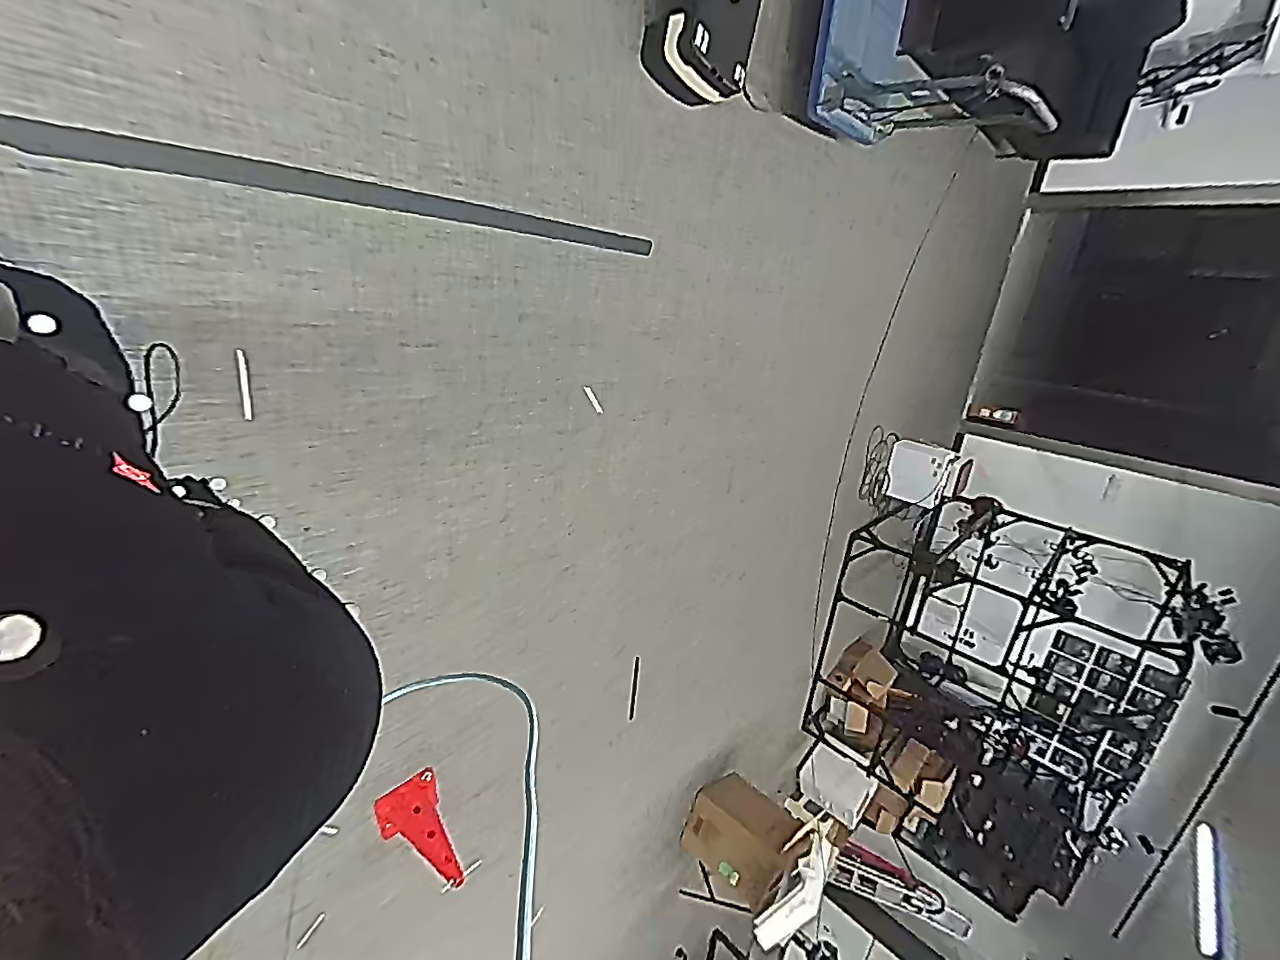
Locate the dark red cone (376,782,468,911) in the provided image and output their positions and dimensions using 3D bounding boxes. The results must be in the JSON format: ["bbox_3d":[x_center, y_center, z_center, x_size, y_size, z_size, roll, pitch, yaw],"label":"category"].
[{"bbox_3d":[-0.654,1.177,1.700,0.201,0.394,0.202,-22,123,-40],"label":"dark red cone"}]
